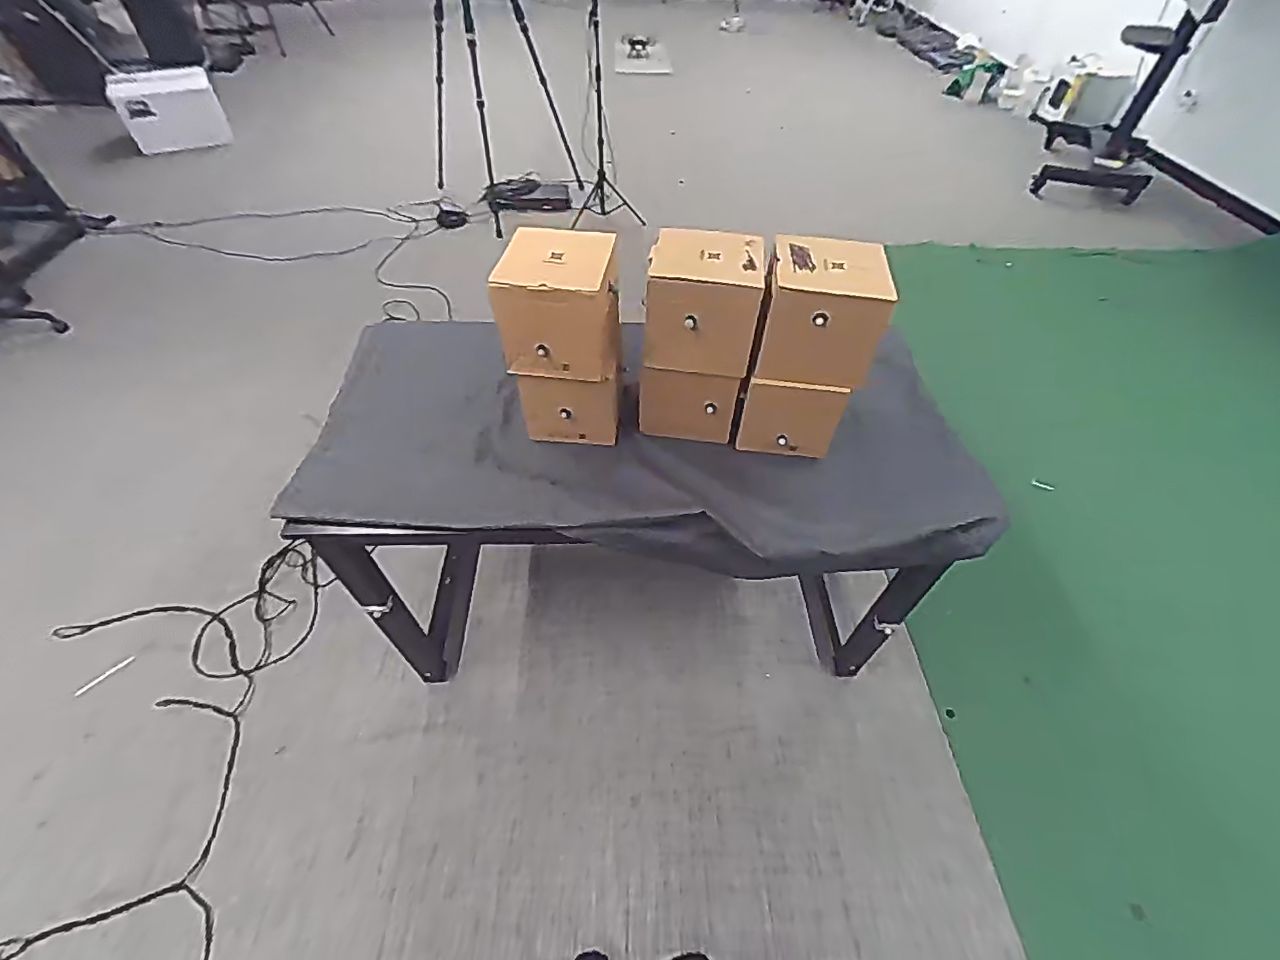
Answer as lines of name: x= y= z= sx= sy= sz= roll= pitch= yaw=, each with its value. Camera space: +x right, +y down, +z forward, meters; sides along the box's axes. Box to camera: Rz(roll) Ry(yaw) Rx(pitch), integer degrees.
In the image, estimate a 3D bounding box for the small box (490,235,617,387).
small box: x=-0.131 y=-0.279 z=0.899 sx=0.168 sy=0.176 sz=0.179 roll=6 pitch=51 yaw=4
